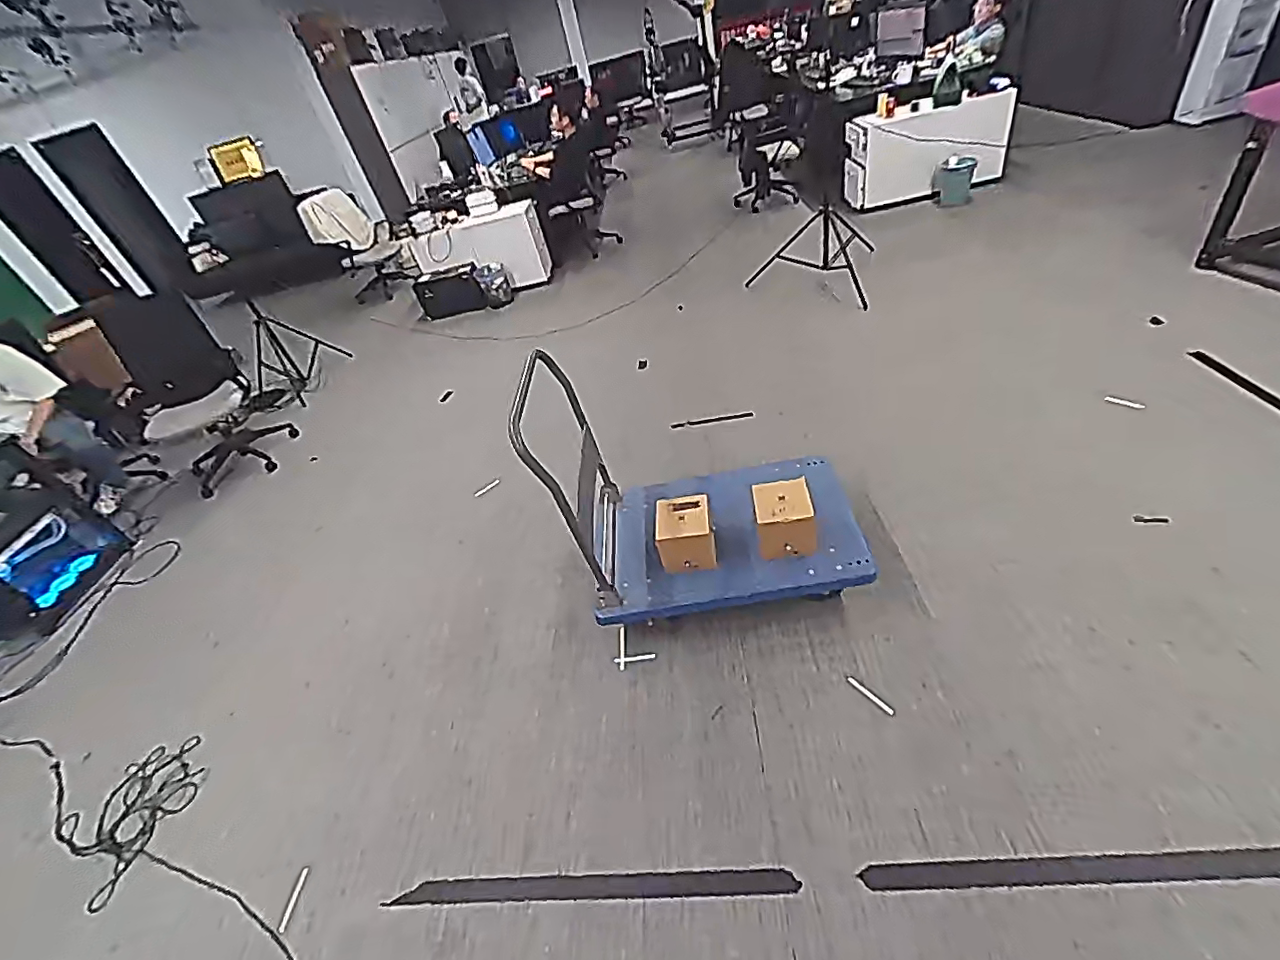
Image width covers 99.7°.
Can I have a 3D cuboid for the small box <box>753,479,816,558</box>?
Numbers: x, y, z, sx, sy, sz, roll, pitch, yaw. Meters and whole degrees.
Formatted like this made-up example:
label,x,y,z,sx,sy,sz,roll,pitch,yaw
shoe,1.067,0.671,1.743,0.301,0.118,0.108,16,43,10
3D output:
label,x,y,z,sx,sy,sz,roll,pitch,yaw
small box,0.452,0.122,1.694,0.168,0.176,0.179,-9,40,11
